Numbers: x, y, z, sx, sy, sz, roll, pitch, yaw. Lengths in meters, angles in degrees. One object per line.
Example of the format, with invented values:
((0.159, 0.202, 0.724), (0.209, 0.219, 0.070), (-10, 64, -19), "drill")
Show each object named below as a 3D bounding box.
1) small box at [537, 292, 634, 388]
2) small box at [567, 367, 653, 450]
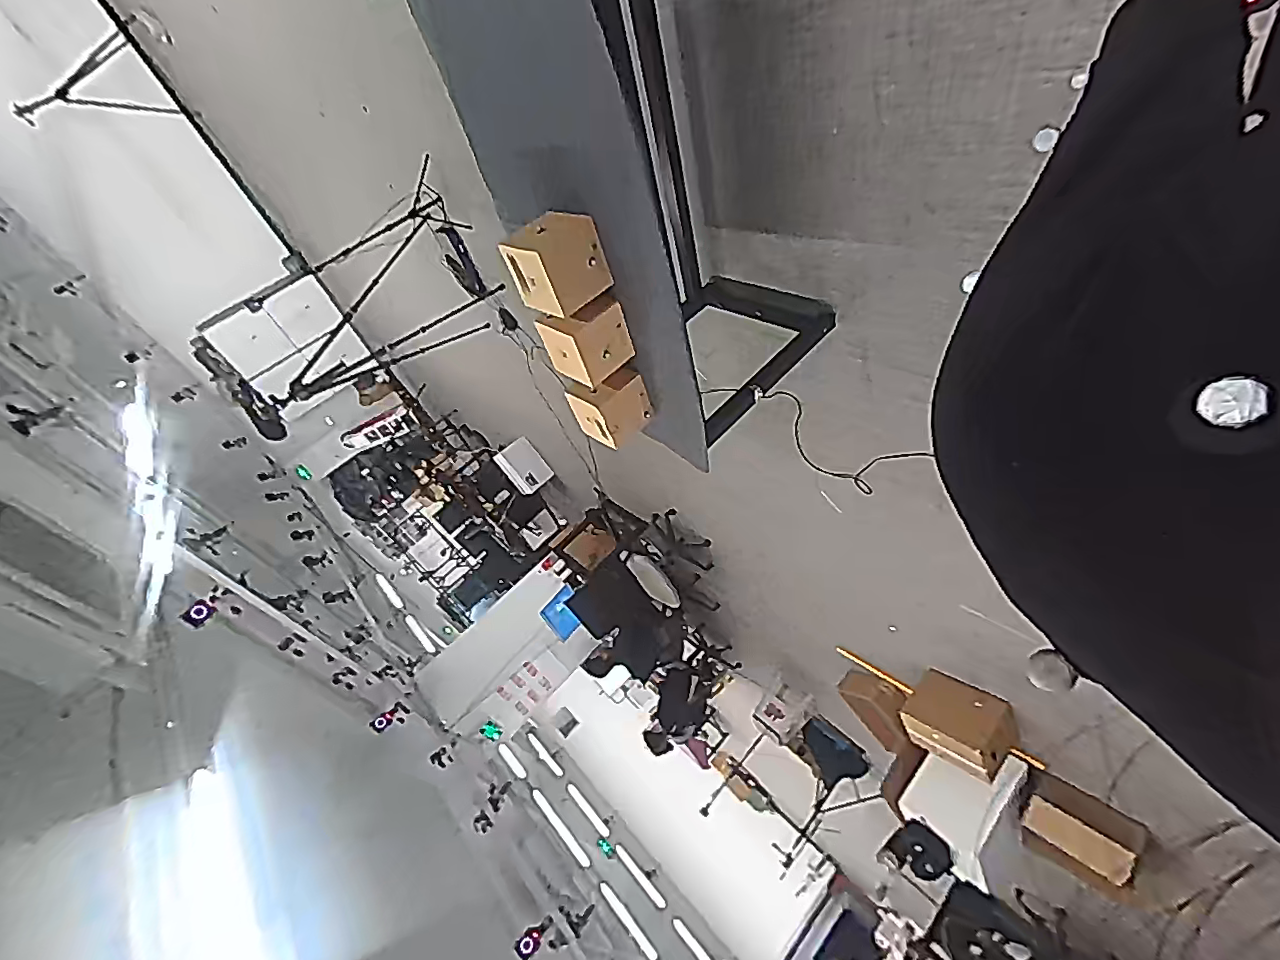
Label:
((-0.135, -0.379, 1.443), (0.179, 0.176, 0.168), (32, 155, 39), "small box")
((-0.080, -0.224, 1.612), (0.179, 0.176, 0.168), (30, 153, 42), "small box")
